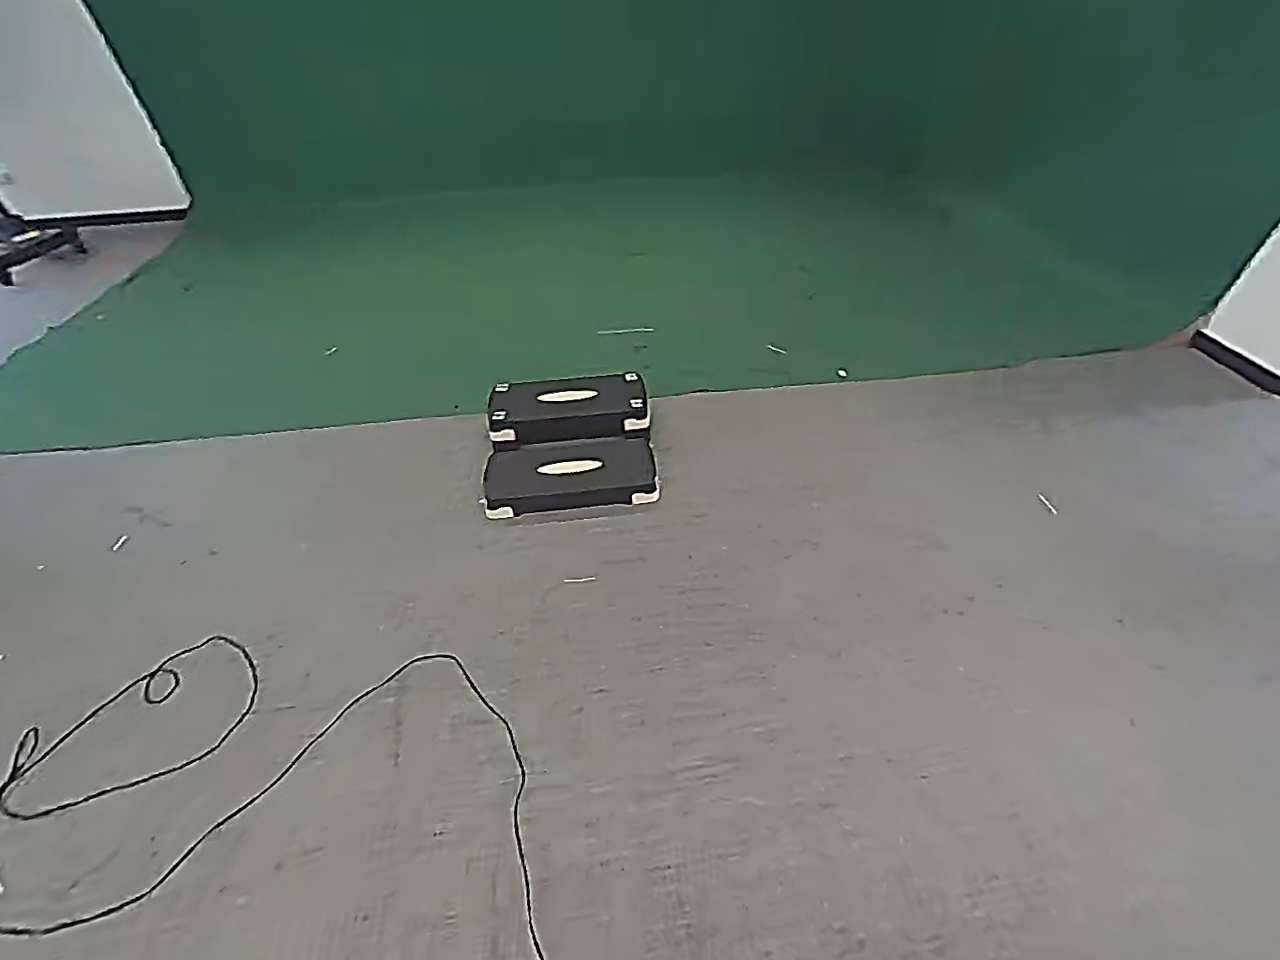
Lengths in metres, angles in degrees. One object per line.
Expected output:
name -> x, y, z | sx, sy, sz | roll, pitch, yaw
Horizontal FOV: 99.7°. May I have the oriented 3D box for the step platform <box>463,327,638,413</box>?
step platform -> -0.350, -0.450, 2.203 | 0.684, 0.204, 0.286 | -6, 45, -3
